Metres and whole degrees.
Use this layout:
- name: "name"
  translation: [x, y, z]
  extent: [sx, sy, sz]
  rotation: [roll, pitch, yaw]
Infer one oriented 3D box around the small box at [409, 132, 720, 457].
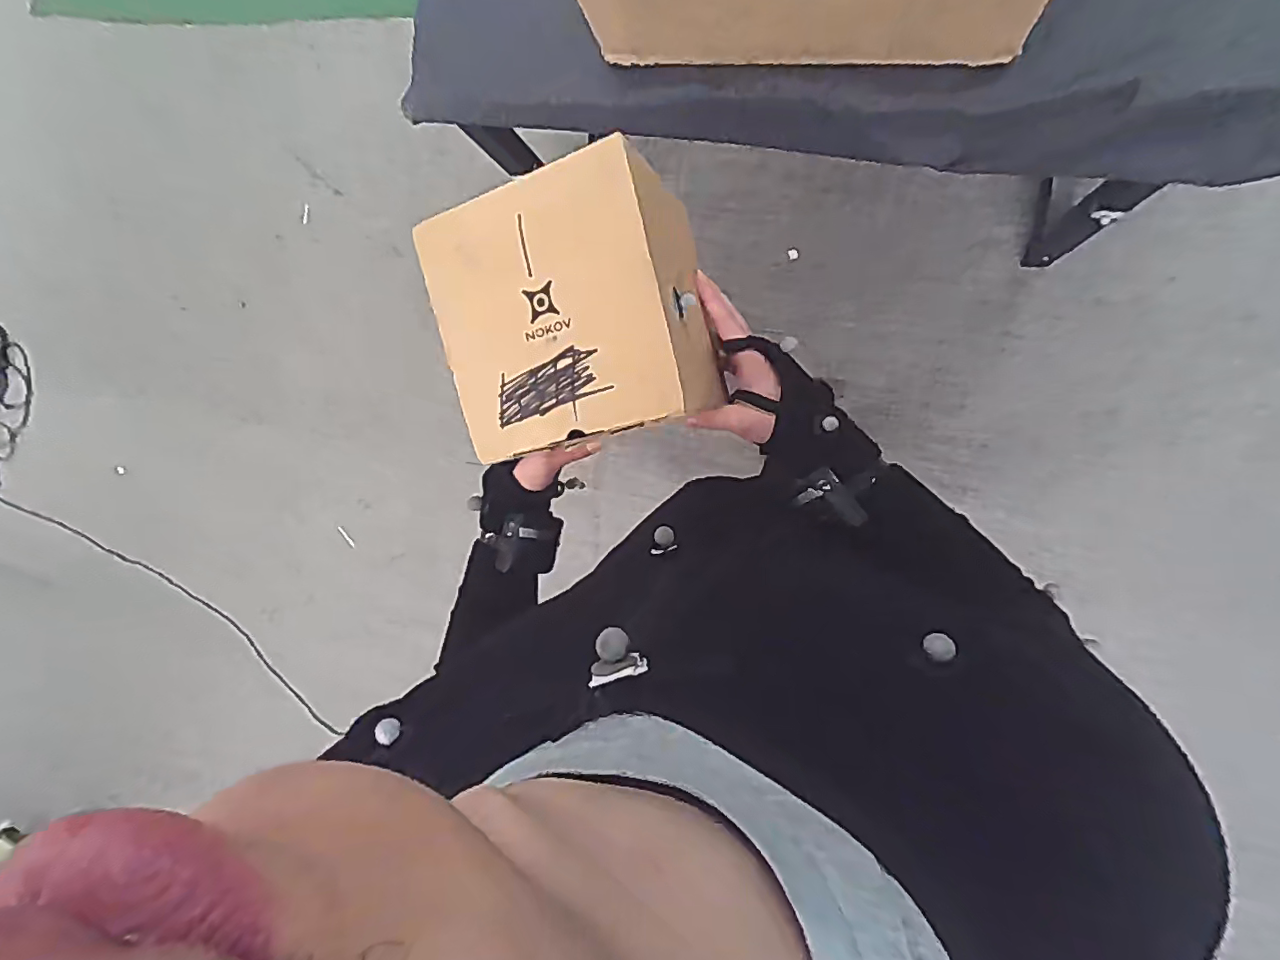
- name: "small box"
  translation: [-0.043, -0.129, 0.435]
  extent: [0.168, 0.176, 0.179]
  rotation: [-10, 98, 21]
